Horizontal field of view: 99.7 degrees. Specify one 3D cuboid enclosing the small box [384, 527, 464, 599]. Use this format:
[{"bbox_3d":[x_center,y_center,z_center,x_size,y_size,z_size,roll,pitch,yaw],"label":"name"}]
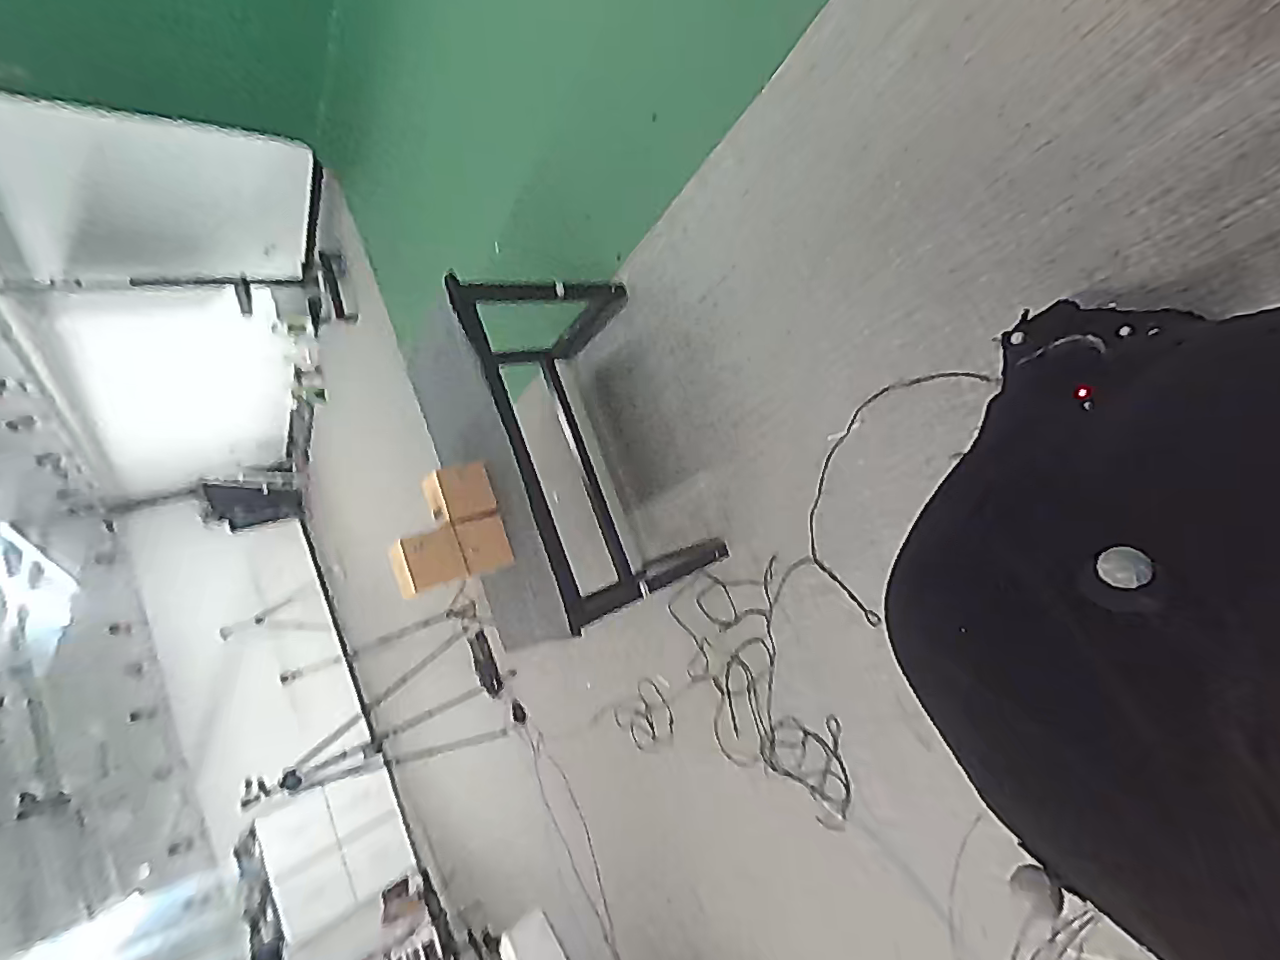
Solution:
[{"bbox_3d":[-0.679,0.256,1.703,0.168,0.176,0.179,-27,81,50],"label":"small box"}]
